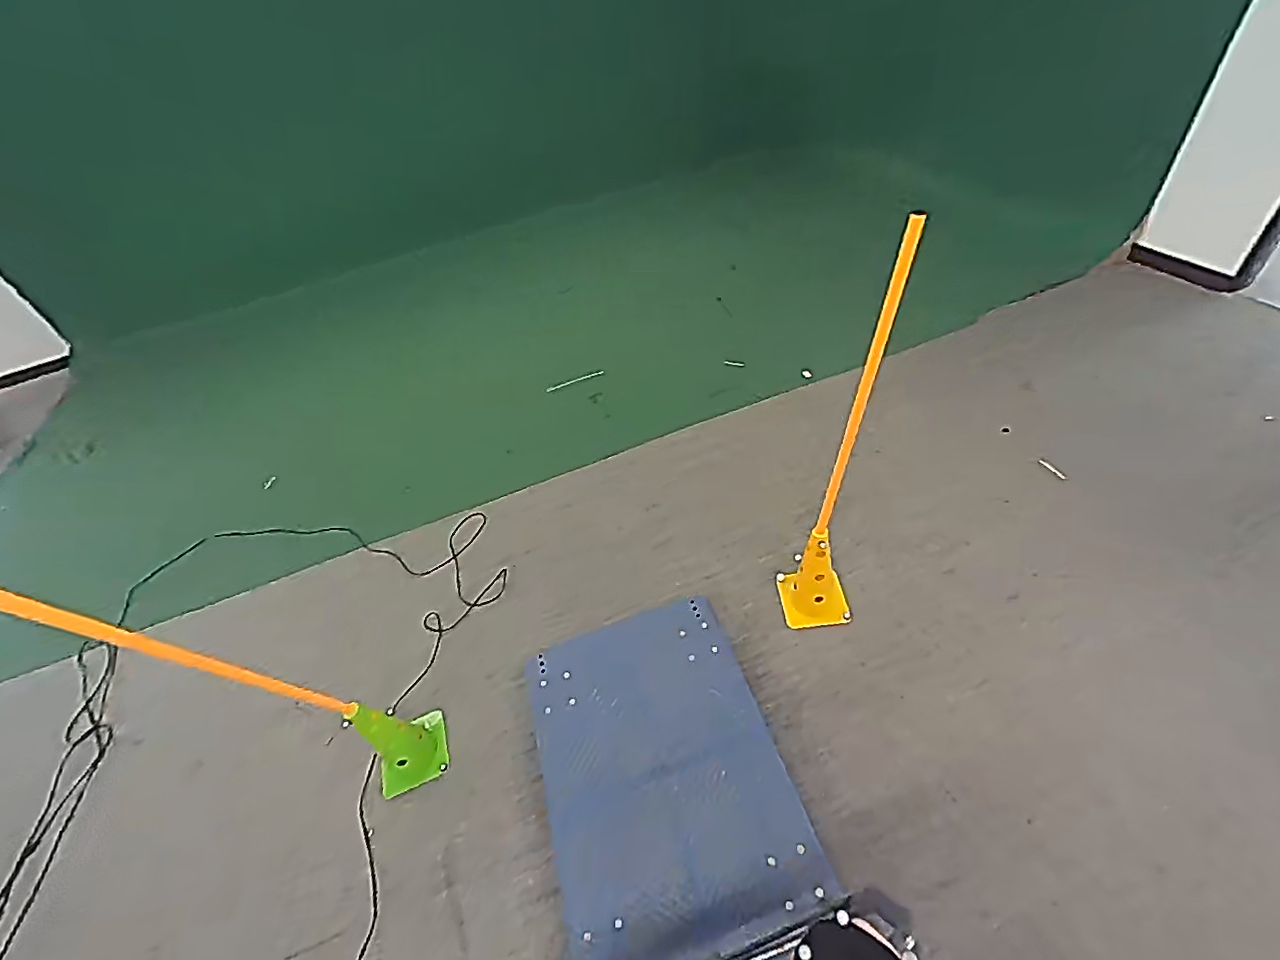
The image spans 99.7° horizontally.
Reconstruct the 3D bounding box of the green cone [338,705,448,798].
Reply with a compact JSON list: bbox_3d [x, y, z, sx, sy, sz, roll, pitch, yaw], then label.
[{"bbox_3d":[-0.721,0.713,1.521,0.202,0.368,0.200,-25,46,-8],"label":"green cone"}]
